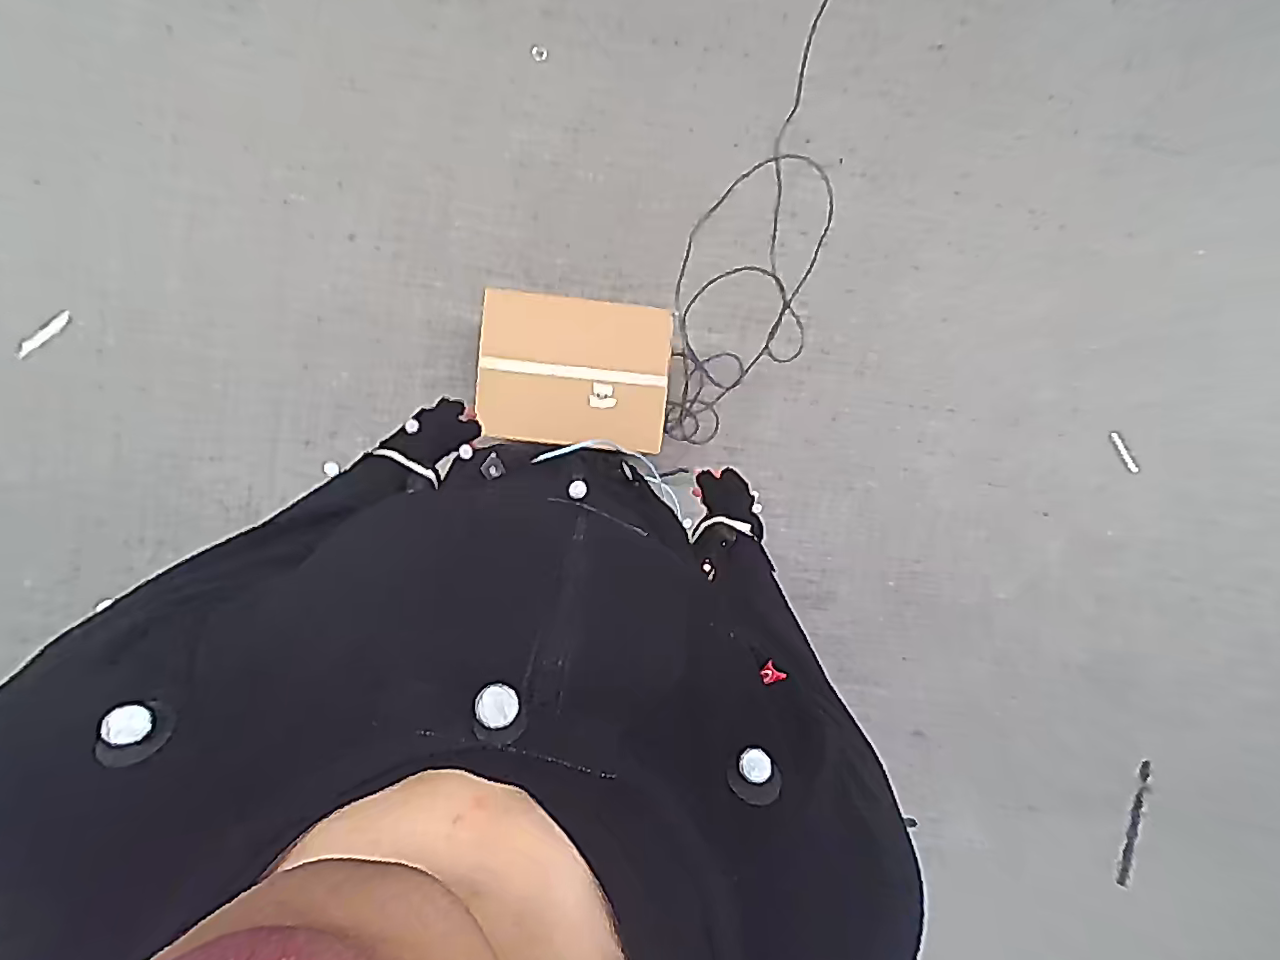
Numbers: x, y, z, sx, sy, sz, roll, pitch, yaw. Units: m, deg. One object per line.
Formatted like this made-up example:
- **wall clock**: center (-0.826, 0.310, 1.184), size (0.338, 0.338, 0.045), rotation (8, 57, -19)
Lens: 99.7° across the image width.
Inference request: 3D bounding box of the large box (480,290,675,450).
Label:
- **large box**: center (-0.146, -0.243, 1.315), size (0.408, 0.320, 0.320), rotation (6, 93, -4)
